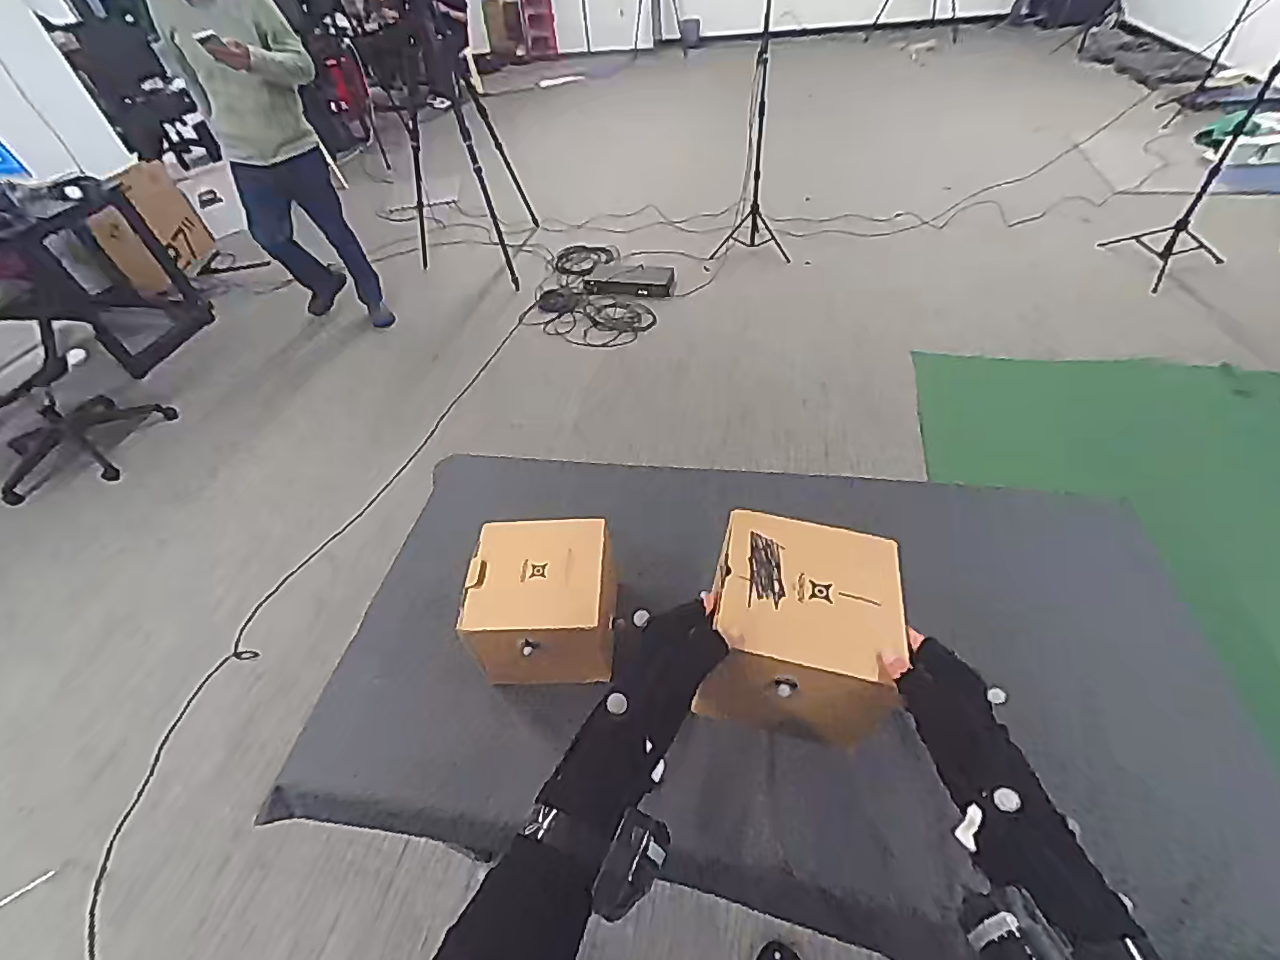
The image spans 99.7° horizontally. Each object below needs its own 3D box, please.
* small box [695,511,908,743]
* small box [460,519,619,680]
[{"bbox_3d":[0.162,0.161,0.585,0.179,0.176,0.168,12,49,7],"label":"small box"},{"bbox_3d":[-0.128,0.172,0.763,0.179,0.176,0.168,-2,49,3],"label":"small box"}]
